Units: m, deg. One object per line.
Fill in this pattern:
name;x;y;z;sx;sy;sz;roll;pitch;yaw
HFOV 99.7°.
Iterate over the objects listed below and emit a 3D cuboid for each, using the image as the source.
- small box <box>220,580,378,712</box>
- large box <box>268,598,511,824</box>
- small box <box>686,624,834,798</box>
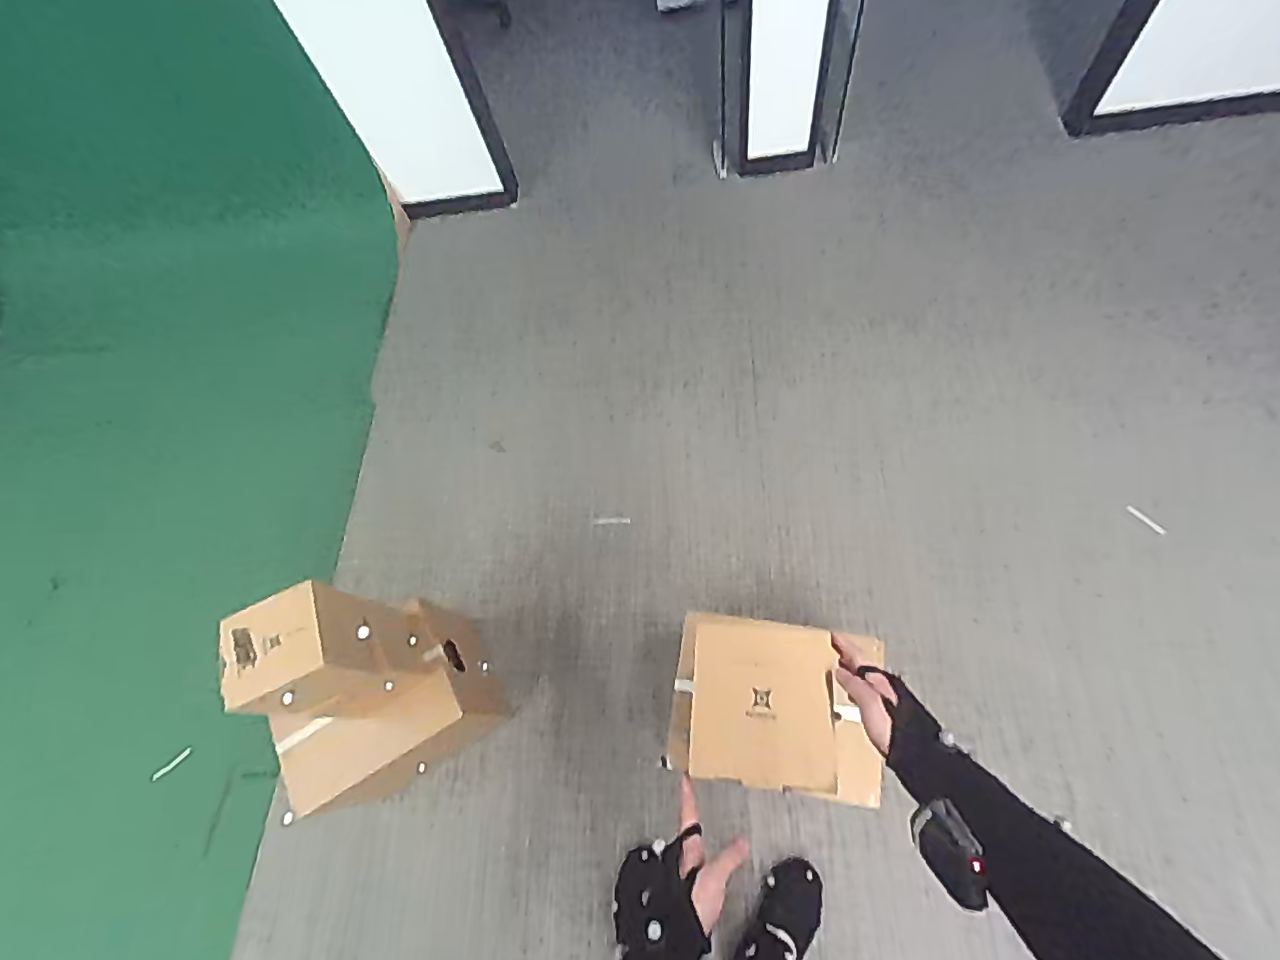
small box;-0.621;0.312;0.995;0.179;0.176;0.168;-25;64;-4
large box;-0.600;0.555;1.336;0.408;0.320;0.320;-32;64;-5
small box;0.152;0.298;0.705;0.168;0.176;0.179;3;64;9
